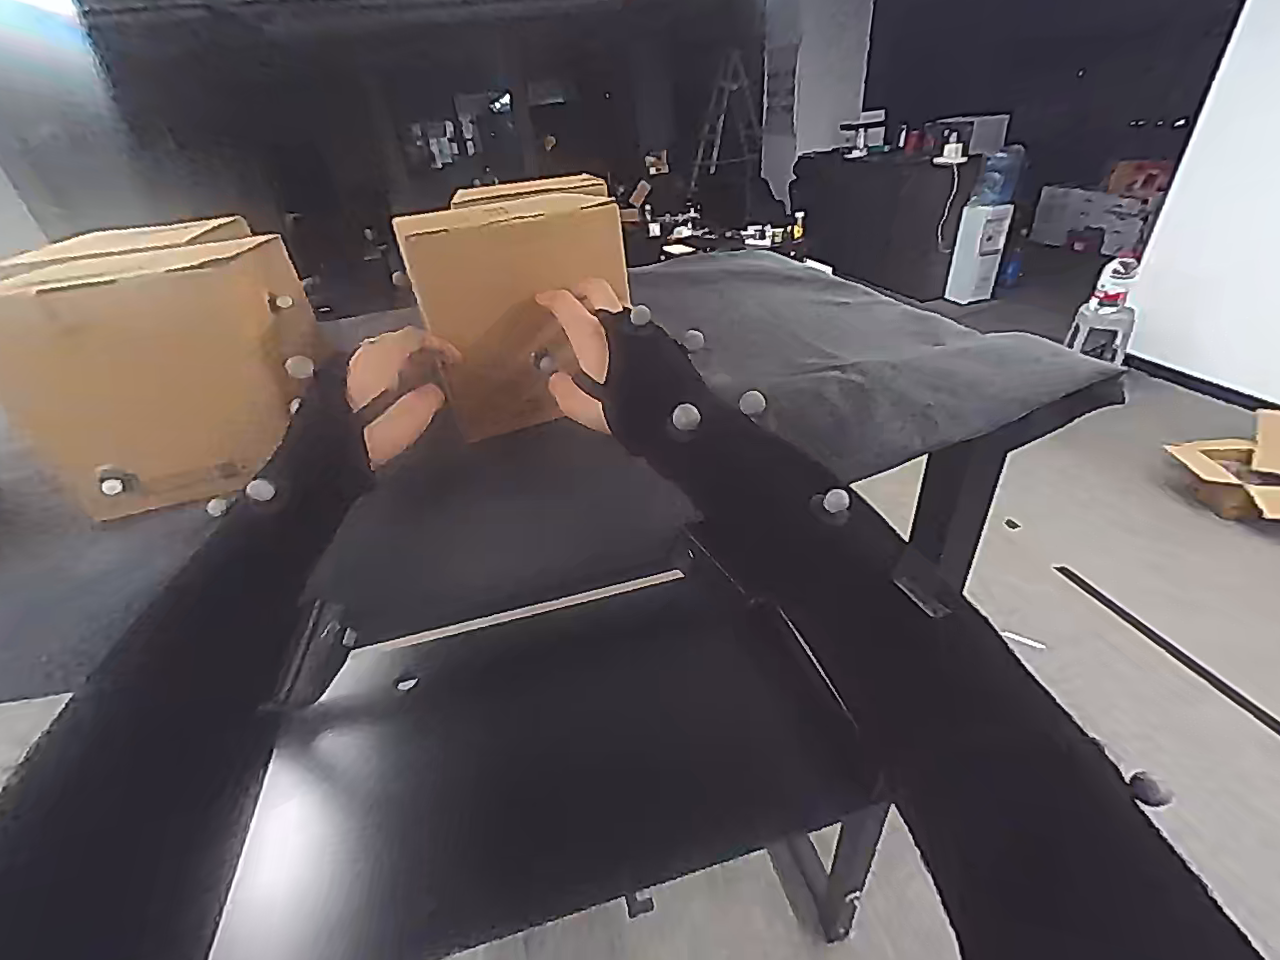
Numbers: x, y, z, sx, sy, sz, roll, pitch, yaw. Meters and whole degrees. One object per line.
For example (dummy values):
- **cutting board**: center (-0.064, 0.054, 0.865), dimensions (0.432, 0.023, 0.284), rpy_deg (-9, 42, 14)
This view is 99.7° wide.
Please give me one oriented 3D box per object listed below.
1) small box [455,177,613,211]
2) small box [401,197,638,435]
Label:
- **small box**: center (-0.127, -0.287, 0.705), dimensions (0.179, 0.176, 0.168), rpy_deg (-11, 33, -8)
- **small box**: center (-0.113, -0.162, 0.511), dimensions (0.168, 0.176, 0.179), rpy_deg (-18, 34, -17)
